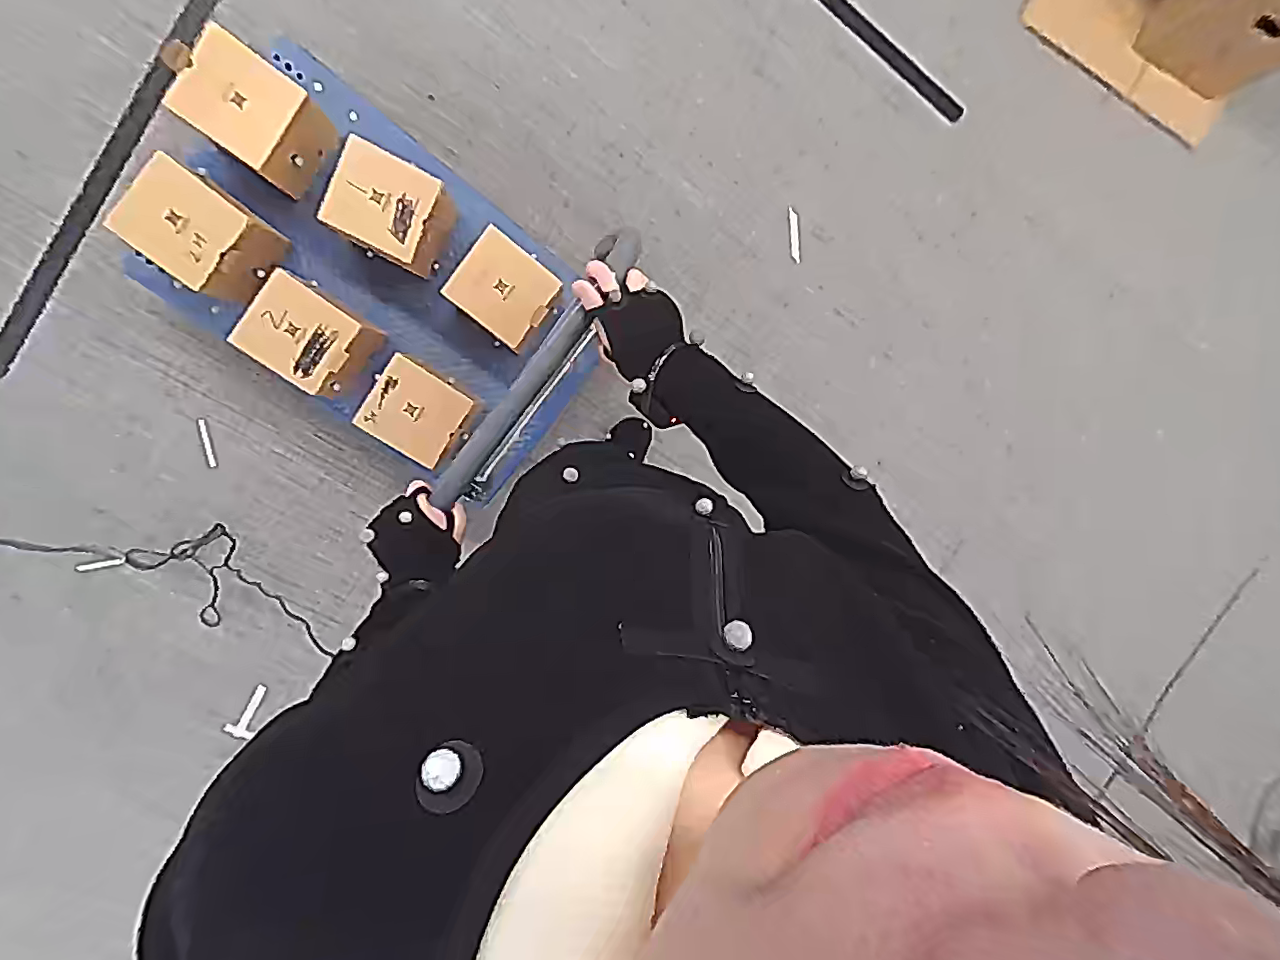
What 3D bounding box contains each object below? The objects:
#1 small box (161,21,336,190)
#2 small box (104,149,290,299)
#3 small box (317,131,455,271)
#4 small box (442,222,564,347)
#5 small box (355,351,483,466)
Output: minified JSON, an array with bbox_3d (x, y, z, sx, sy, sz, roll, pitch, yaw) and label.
[{"bbox_3d":[-0.711,-0.675,1.007,0.179,0.176,0.168,33,93,-13],"label":"small box"},{"bbox_3d":[-0.820,-0.466,1.022,0.179,0.176,0.168,38,92,-14],"label":"small box"},{"bbox_3d":[-0.487,-0.532,1.067,0.179,0.176,0.168,24,95,-12],"label":"small box"},{"bbox_3d":[-0.276,-0.394,1.126,0.179,0.176,0.168,37,92,-12],"label":"small box"},{"bbox_3d":[-0.450,-0.151,1.137,0.179,0.176,0.168,33,92,-13],"label":"small box"}]
